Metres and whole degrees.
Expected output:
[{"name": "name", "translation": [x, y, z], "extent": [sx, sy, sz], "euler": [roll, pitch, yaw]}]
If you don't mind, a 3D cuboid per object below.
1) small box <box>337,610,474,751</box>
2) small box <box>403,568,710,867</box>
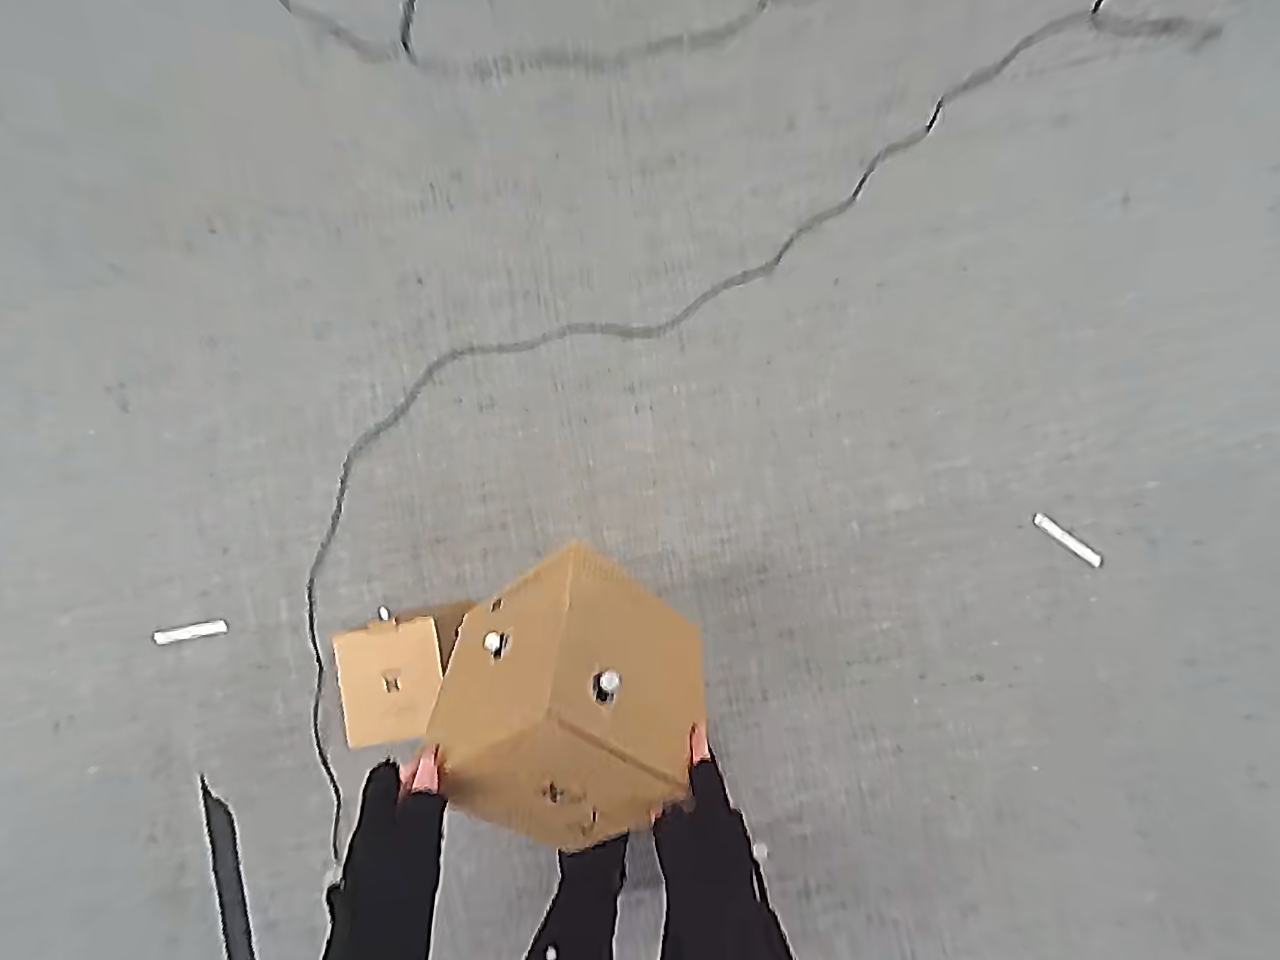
[{"name": "small box", "translation": [-0.374, 0.324, 0.911], "extent": [0.168, 0.176, 0.179], "euler": [-10, 87, 2]}, {"name": "small box", "translation": [-0.061, 0.200, 0.472], "extent": [0.168, 0.176, 0.179], "euler": [-35, 120, 26]}]
